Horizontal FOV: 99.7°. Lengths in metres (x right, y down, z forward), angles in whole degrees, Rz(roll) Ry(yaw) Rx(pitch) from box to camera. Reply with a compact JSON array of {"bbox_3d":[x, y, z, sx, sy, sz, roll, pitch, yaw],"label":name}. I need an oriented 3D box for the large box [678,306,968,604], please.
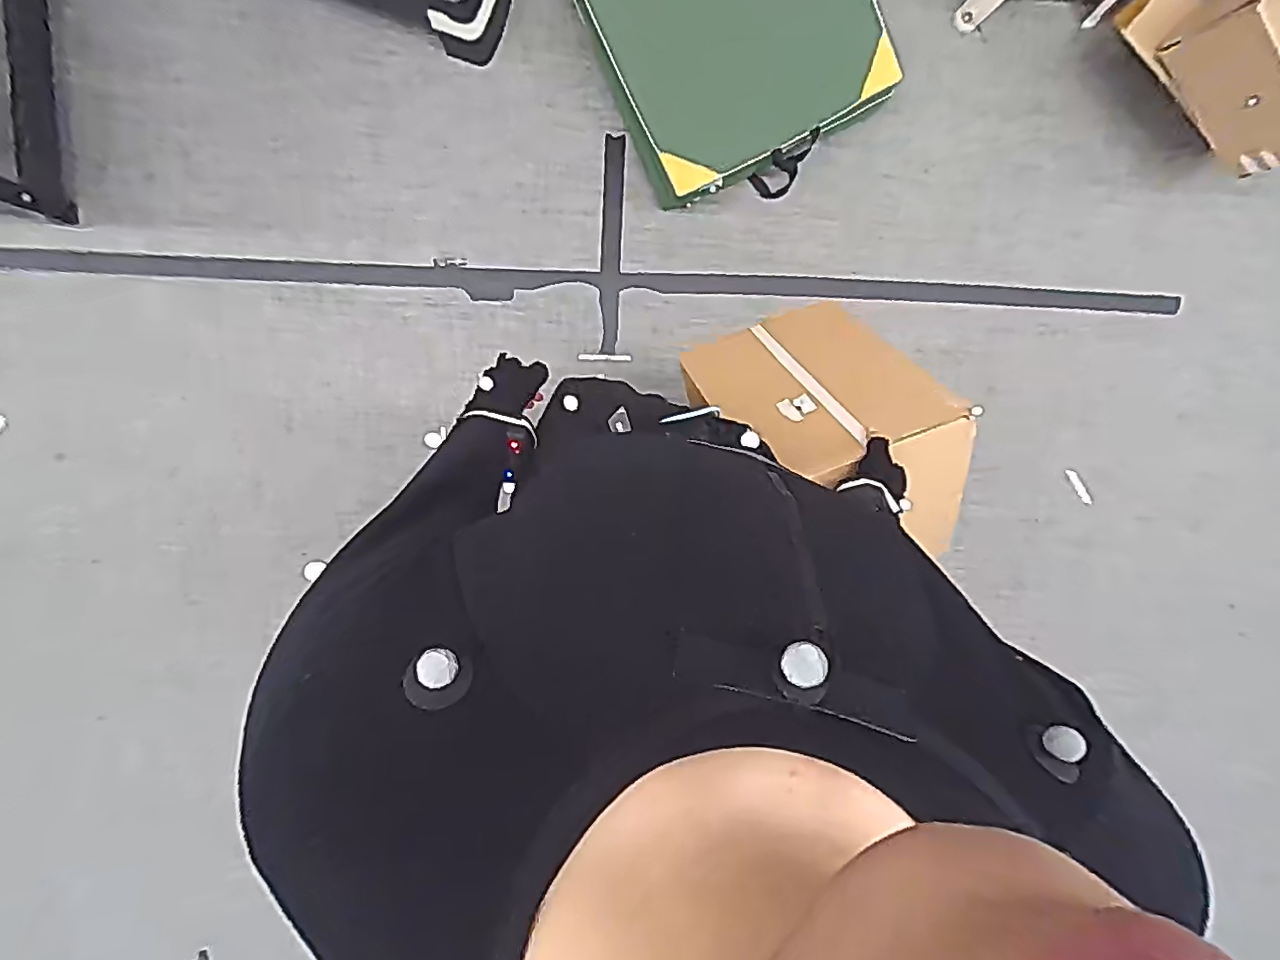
[{"bbox_3d":[0.298,-0.057,0.994,0.320,0.408,0.320,-21,133,-1],"label":"large box"}]
